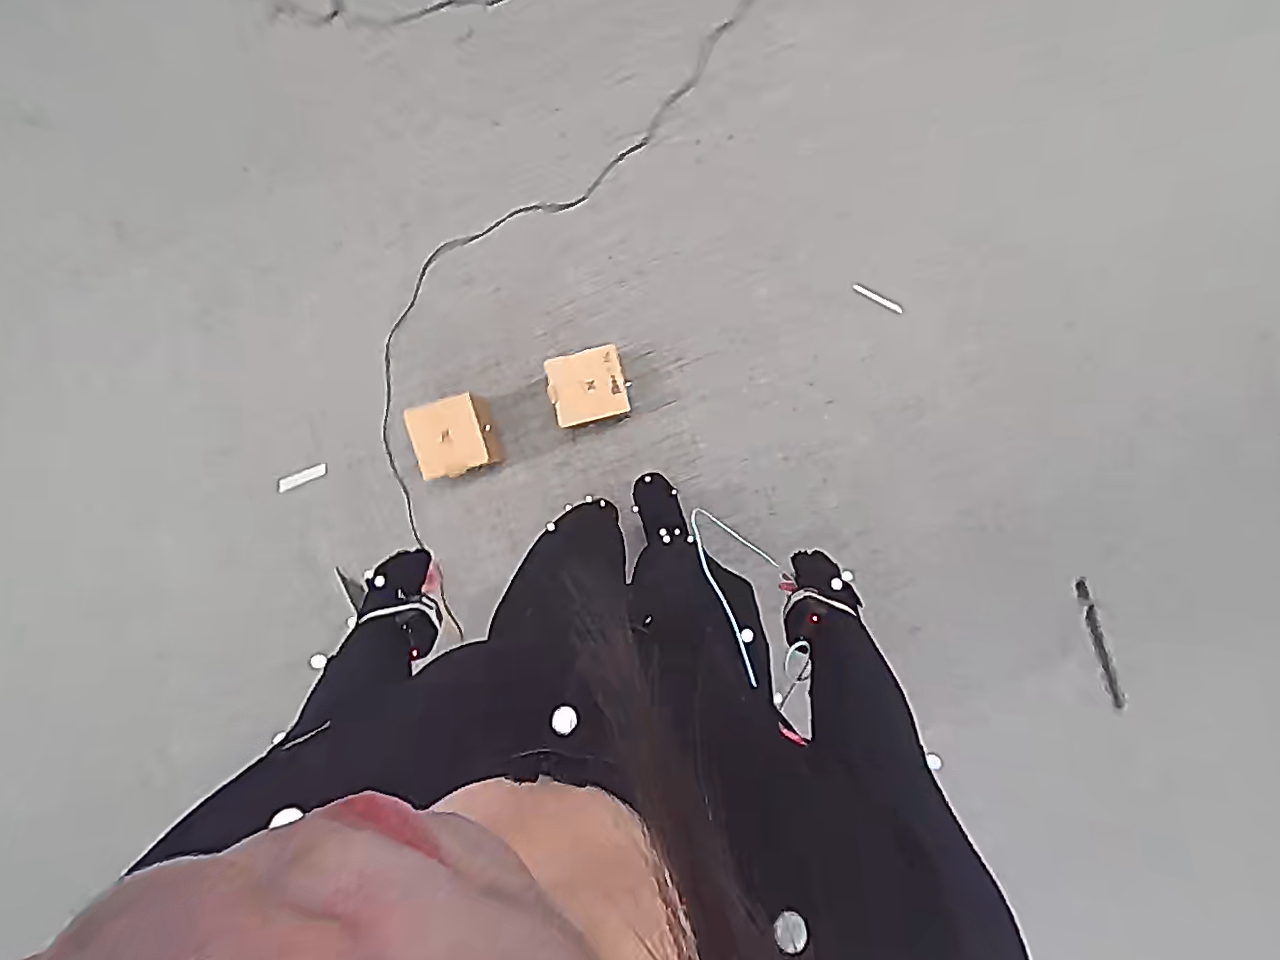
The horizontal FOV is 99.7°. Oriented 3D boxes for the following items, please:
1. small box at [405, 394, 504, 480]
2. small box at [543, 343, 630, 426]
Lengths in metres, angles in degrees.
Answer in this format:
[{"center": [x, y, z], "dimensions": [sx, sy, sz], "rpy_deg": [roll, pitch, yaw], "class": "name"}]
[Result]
[{"center": [-0.461, -0.111, 1.375], "dimensions": [0.168, 0.176, 0.179], "rpy_deg": [-16, 95, 1], "class": "small box"}, {"center": [-0.129, -0.233, 1.363], "dimensions": [0.179, 0.176, 0.168], "rpy_deg": [-14, 95, 1], "class": "small box"}]
